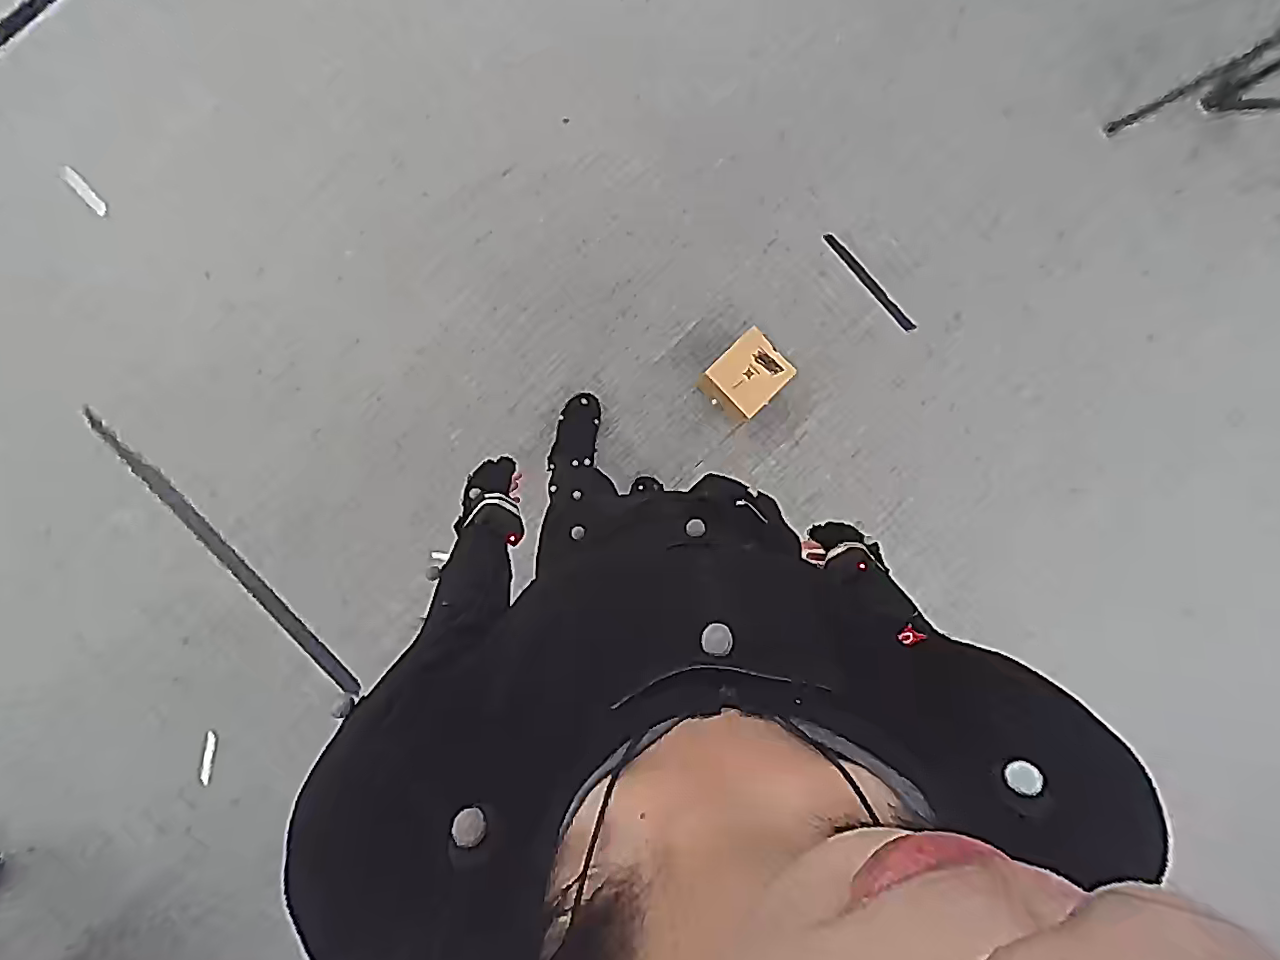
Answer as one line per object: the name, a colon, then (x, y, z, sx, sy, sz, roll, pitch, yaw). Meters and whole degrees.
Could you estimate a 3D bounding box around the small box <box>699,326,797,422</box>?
small box: (0.277, -0.273, 1.433, 0.179, 0.176, 0.168, -44, 93, 0)
